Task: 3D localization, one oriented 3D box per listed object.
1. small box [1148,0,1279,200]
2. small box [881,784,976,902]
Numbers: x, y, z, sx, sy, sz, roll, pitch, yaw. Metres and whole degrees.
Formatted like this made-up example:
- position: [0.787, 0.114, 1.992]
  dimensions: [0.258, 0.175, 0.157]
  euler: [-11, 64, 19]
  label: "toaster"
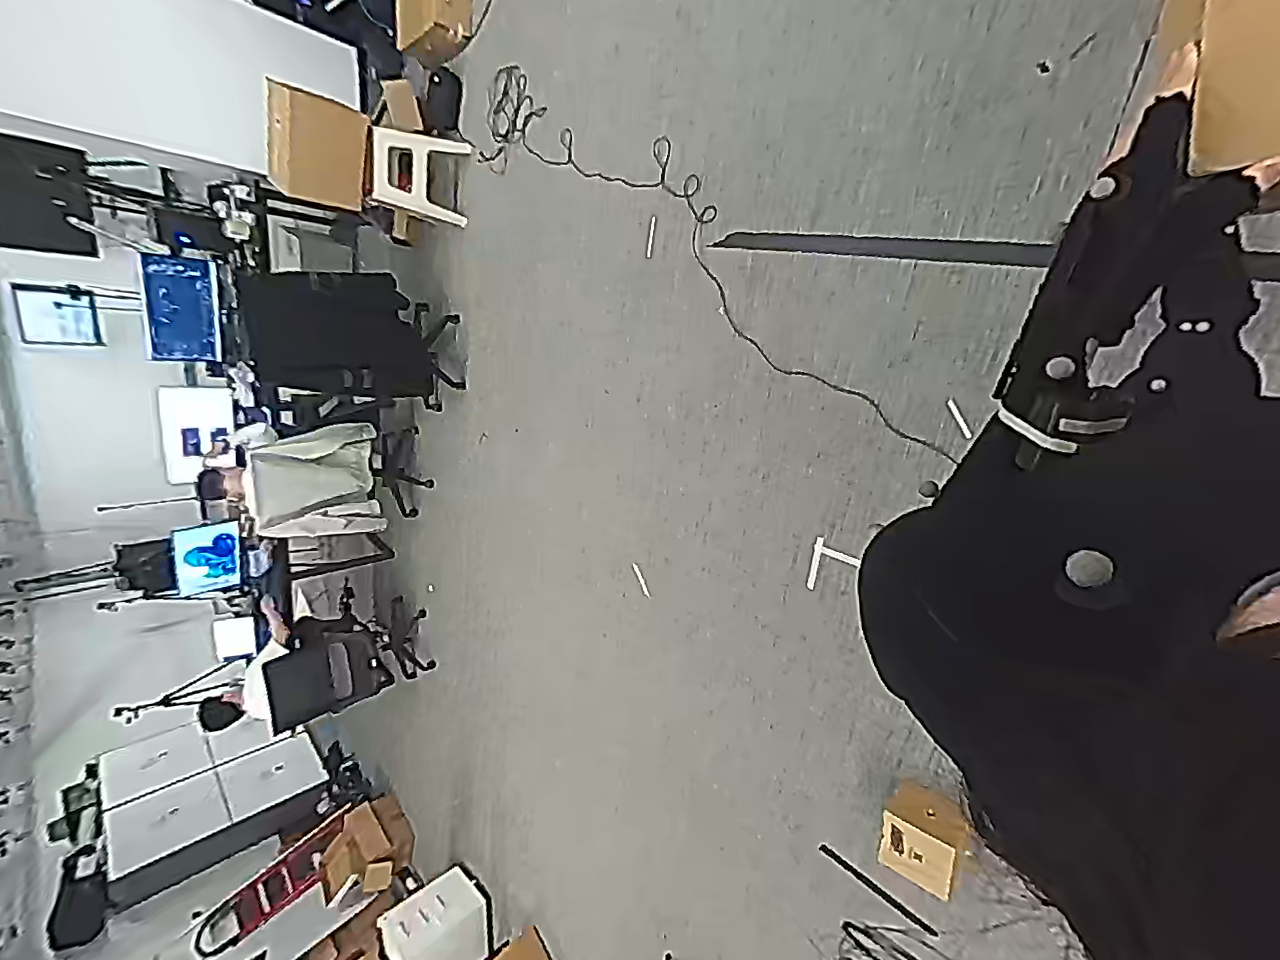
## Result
- position: [0.438, -0.290, 0.331]
  dimensions: [0.168, 0.176, 0.179]
  euler: [3, 102, 36]
  label: "small box"
- position: [0.777, 0.961, 1.456]
  dimensions: [0.179, 0.176, 0.168]
  euler: [13, 106, 42]
  label: "small box"
